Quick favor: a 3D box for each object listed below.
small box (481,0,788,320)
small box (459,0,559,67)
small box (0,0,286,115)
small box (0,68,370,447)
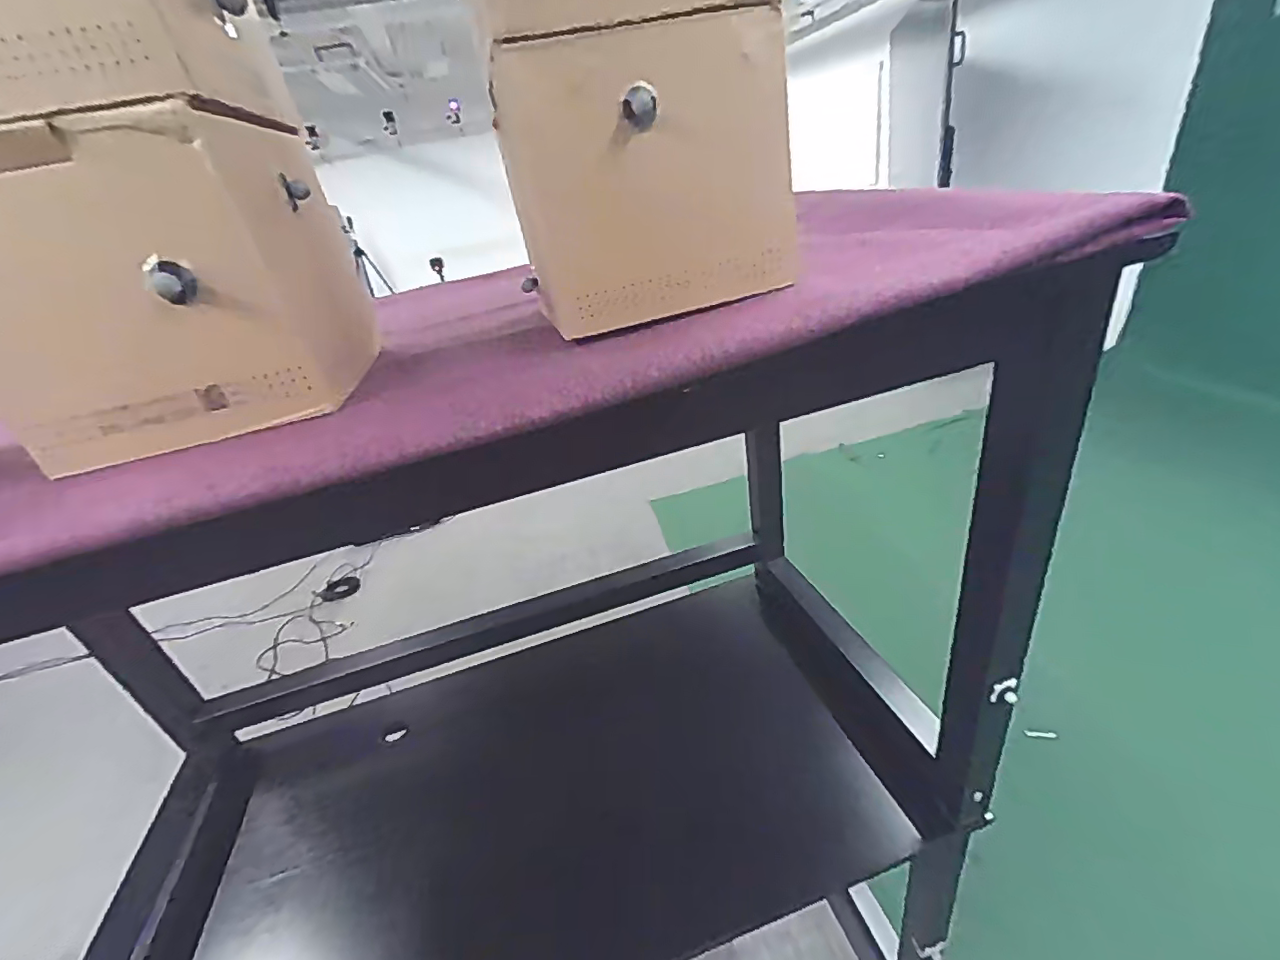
[{"bbox_3d":[-0.006,-0.227,0.404,0.179,0.176,0.168,-16,28,-9],"label":"small box"},{"bbox_3d":[-0.039,-0.370,0.334,0.179,0.176,0.168,-16,28,-9],"label":"small box"},{"bbox_3d":[-0.326,-0.275,0.269,0.179,0.176,0.168,-14,31,-8],"label":"small box"},{"bbox_3d":[-0.299,-0.133,0.349,0.168,0.176,0.179,-15,29,-8],"label":"small box"}]
